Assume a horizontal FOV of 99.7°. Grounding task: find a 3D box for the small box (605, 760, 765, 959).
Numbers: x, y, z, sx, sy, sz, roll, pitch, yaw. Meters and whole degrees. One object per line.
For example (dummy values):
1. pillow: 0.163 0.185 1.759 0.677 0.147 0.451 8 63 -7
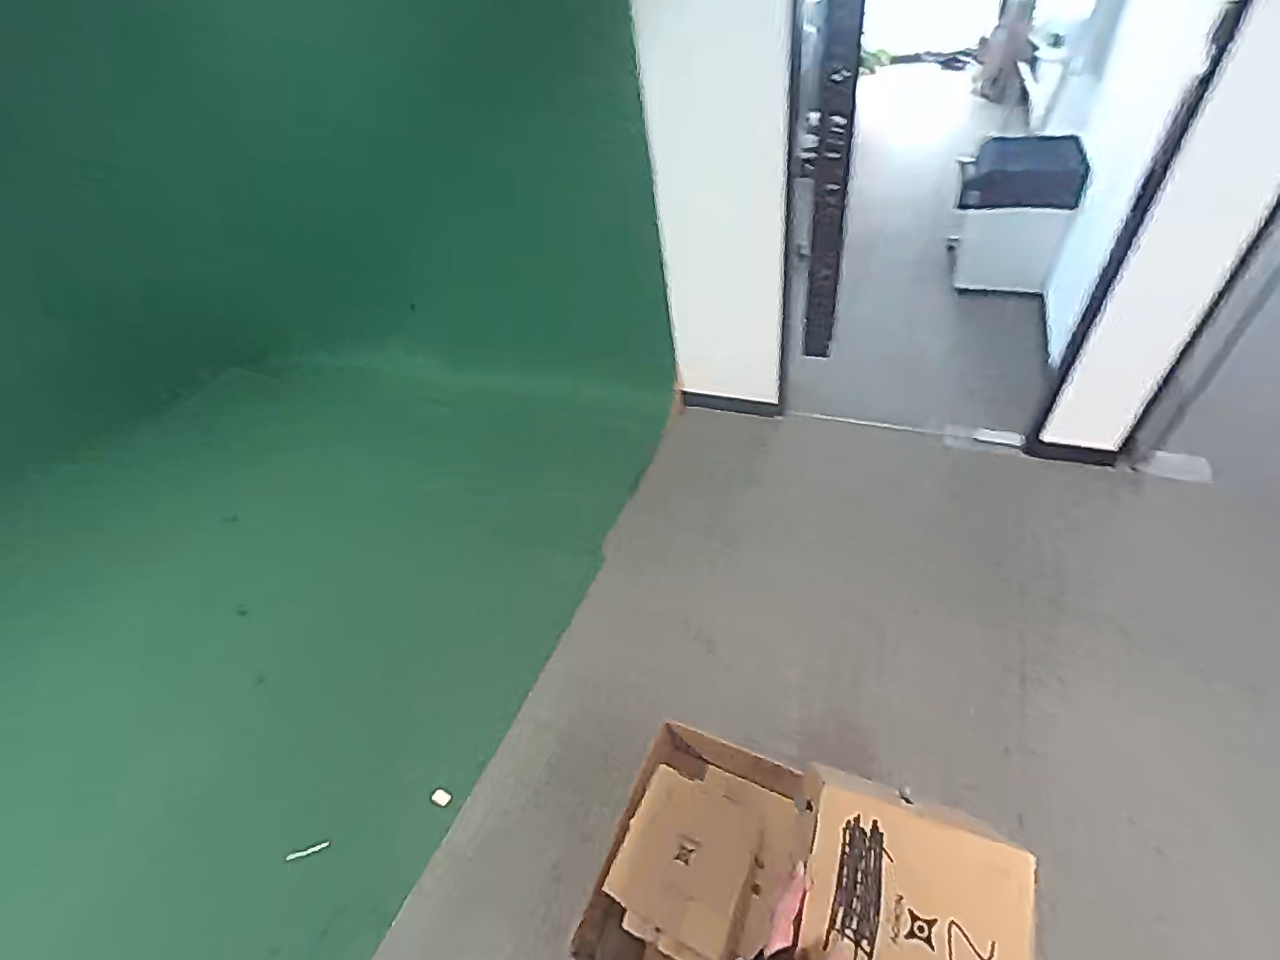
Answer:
1. small box: 0.073 0.555 0.788 0.168 0.176 0.179 15 50 26
